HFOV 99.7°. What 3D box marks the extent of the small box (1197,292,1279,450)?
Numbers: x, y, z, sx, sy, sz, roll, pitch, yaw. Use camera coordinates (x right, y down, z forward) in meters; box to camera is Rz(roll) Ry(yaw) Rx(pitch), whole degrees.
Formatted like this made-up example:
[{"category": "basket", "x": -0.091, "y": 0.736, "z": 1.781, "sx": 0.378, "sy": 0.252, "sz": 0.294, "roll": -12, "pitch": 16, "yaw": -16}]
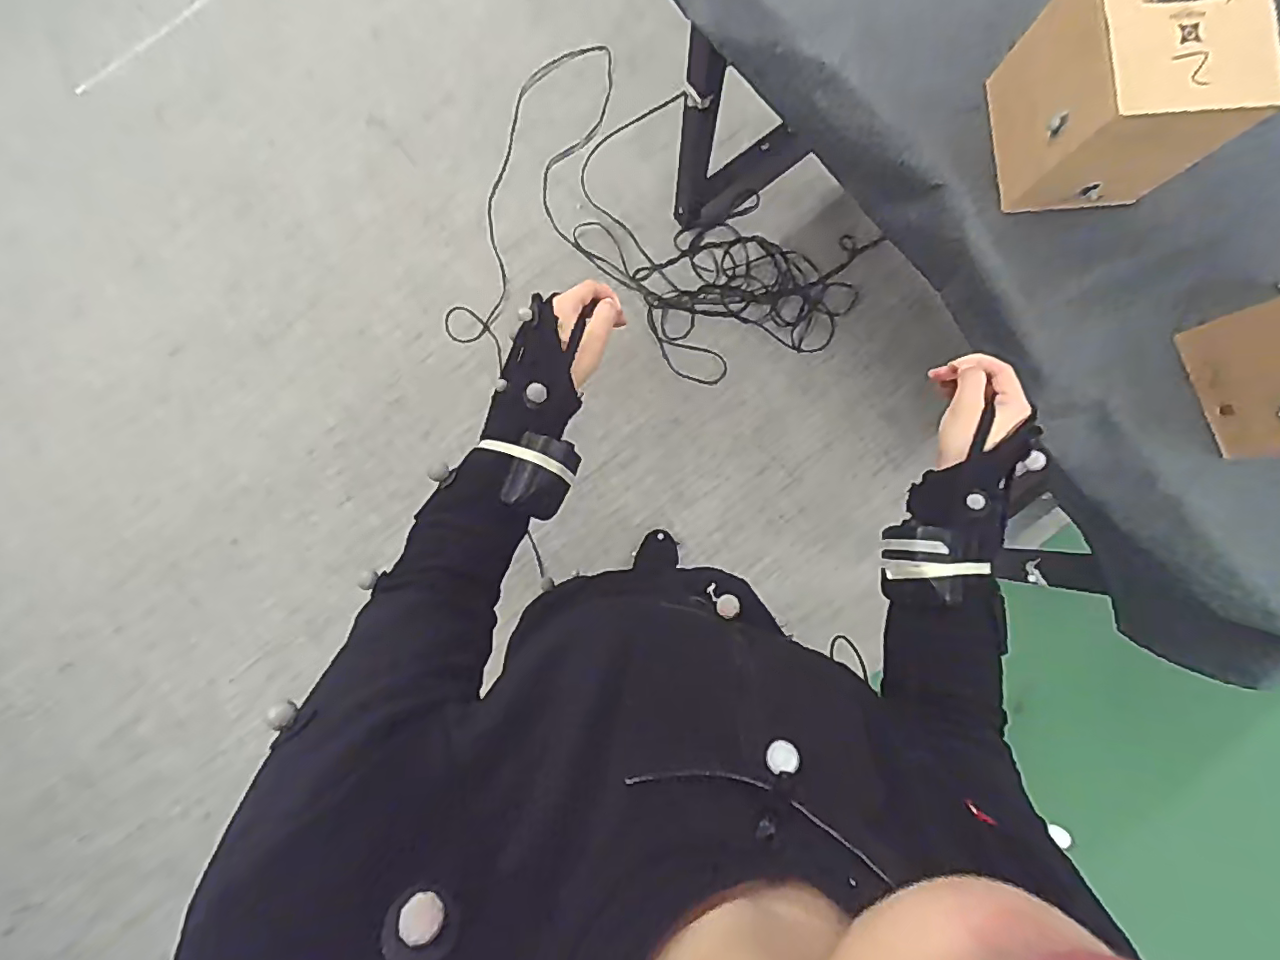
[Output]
[{"category": "small box", "x": 0.757, "y": -0.139, "z": 0.568, "sx": 0.179, "sy": 0.176, "sz": 0.168, "roll": -19, "pitch": 86, "yaw": -2}]
